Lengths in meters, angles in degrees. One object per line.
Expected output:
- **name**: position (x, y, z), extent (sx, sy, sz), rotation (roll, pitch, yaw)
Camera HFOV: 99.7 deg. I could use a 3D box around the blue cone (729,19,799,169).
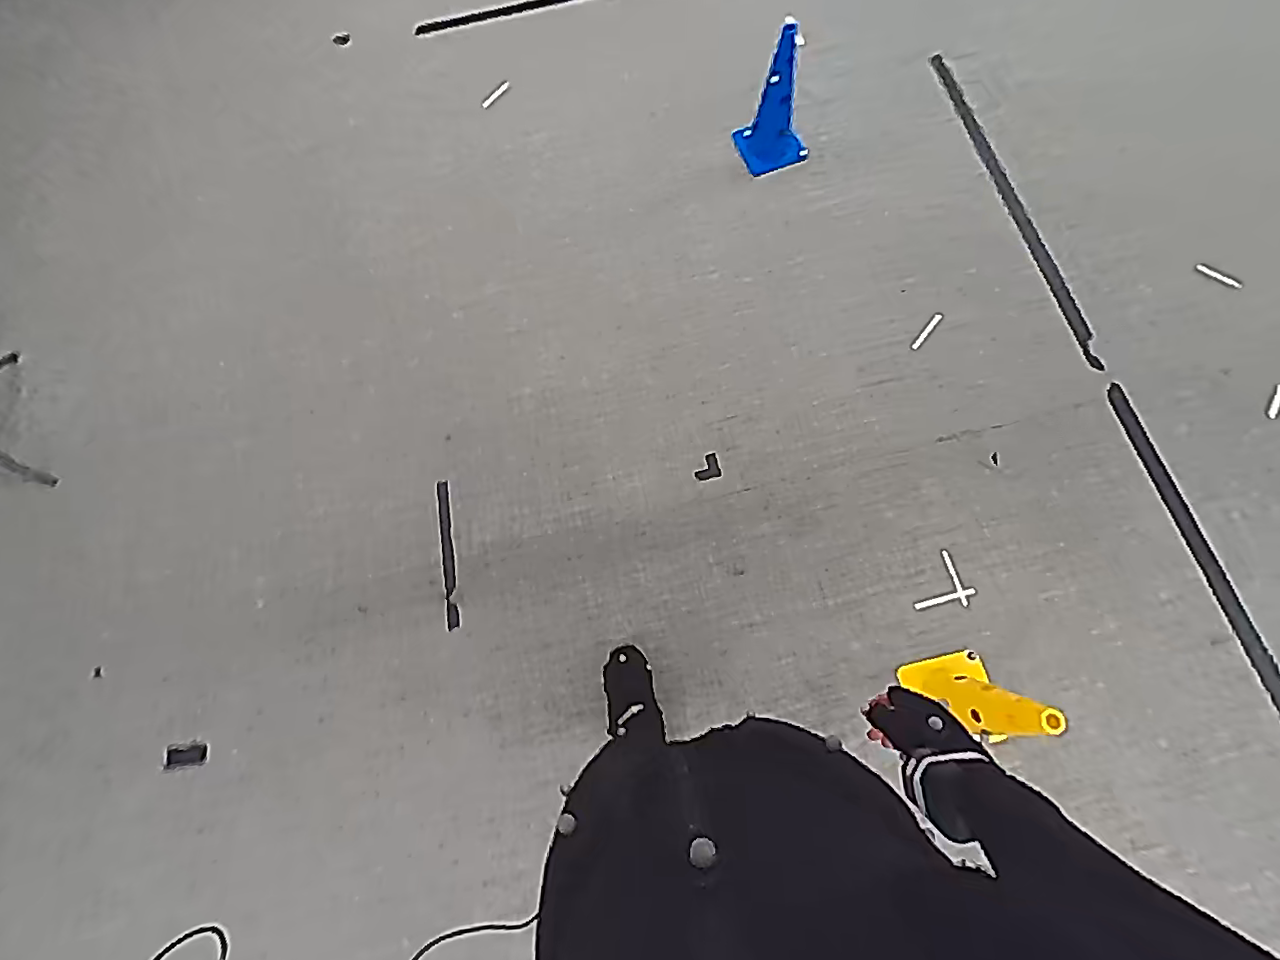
- **blue cone**: position (0.391, -1.153, 1.609), extent (0.192, 0.380, 0.193), rotation (-19, 72, -3)
